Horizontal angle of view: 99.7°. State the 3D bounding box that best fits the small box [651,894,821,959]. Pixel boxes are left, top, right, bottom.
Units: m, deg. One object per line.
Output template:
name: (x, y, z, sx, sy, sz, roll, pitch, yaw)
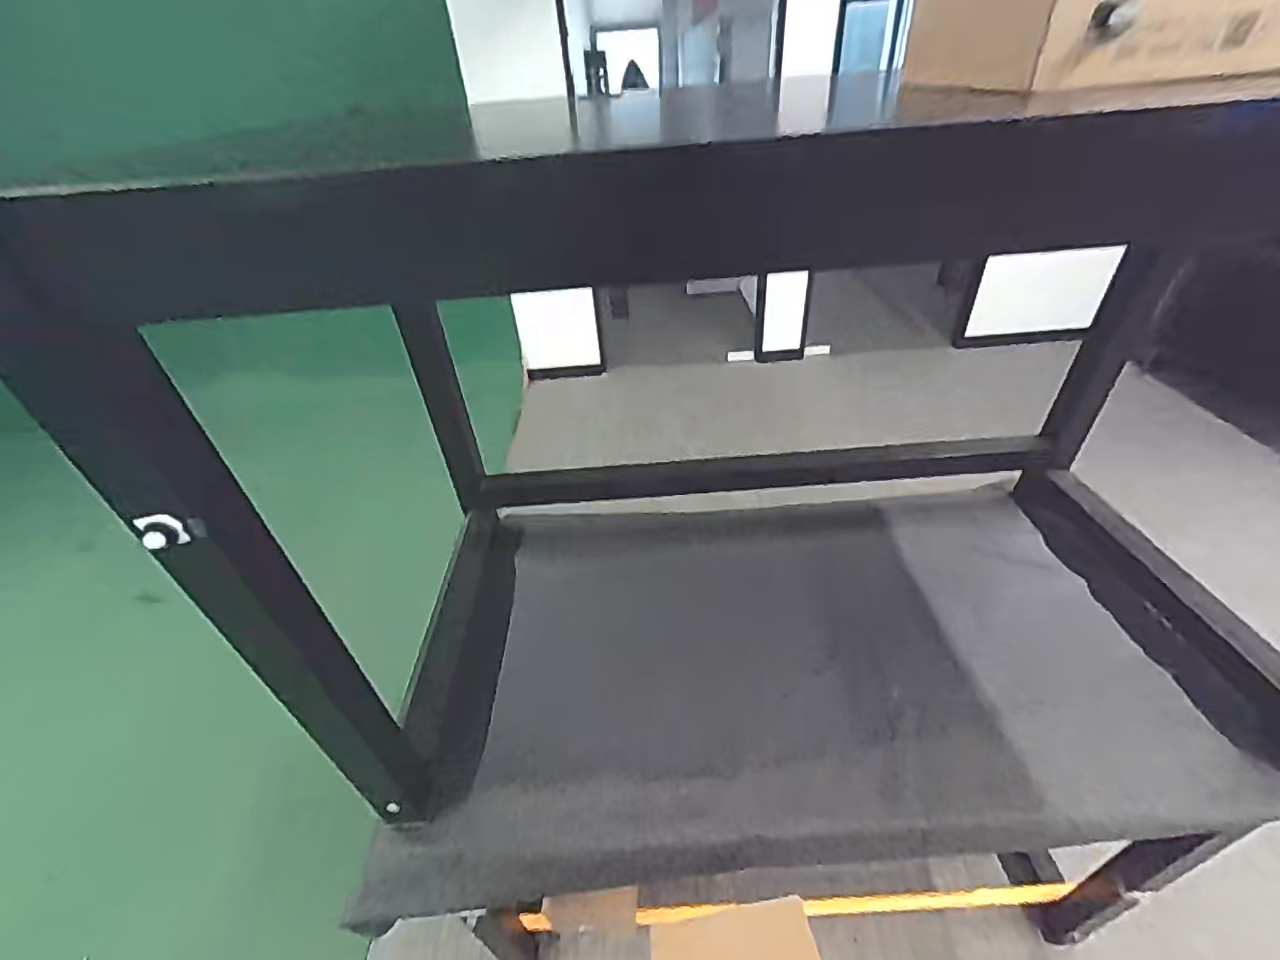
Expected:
small box: (0.110, 0.556, 0.516, 0.168, 0.176, 0.179, -12, 15, -1)
